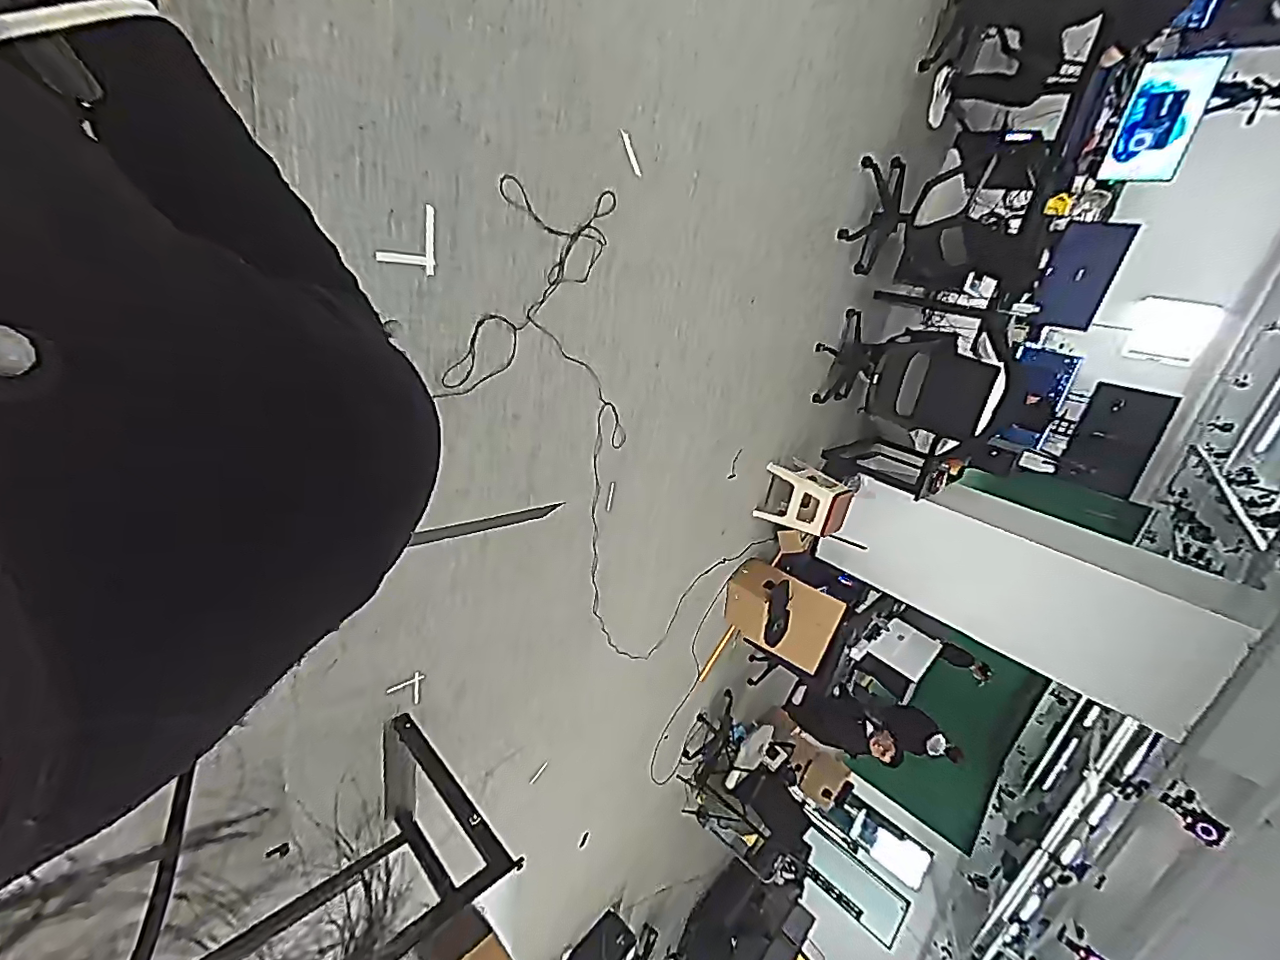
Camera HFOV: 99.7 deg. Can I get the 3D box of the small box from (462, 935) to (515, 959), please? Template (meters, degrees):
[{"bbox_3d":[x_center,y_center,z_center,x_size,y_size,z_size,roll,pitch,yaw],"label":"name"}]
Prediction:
[{"bbox_3d":[-0.449,1.484,1.567,0.168,0.176,0.179,-15,123,-44],"label":"small box"}]
